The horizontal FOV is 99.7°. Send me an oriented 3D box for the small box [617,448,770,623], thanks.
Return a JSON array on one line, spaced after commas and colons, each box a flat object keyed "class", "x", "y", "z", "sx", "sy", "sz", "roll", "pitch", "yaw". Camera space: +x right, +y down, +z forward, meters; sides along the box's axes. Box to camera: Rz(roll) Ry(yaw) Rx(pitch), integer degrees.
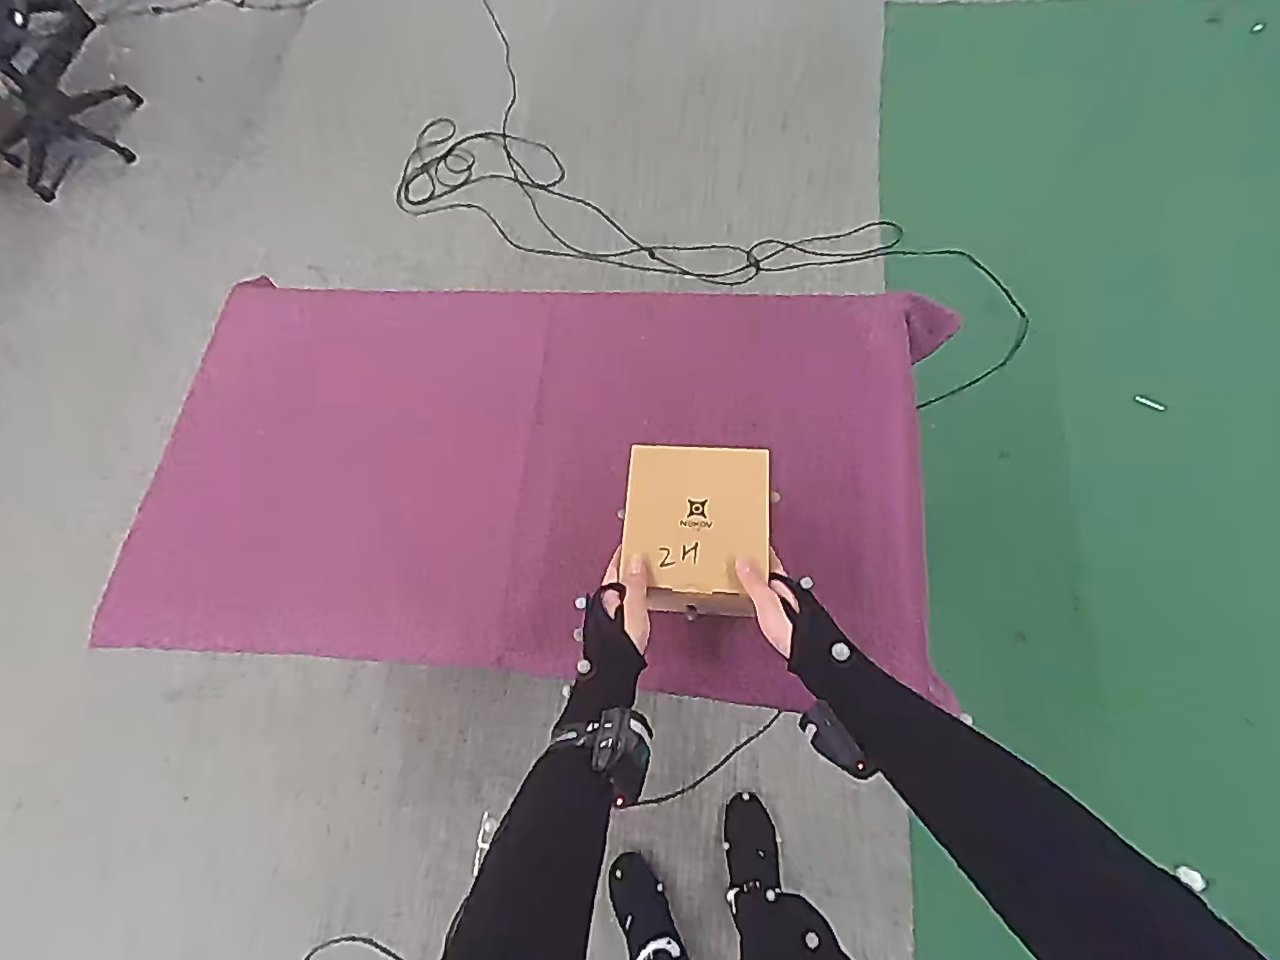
[{"class": "small box", "x": 0.071, "y": 0.076, "z": 0.692, "sx": 0.168, "sy": 0.176, "sz": 0.179, "roll": 3, "pitch": 69, "yaw": 8}]
